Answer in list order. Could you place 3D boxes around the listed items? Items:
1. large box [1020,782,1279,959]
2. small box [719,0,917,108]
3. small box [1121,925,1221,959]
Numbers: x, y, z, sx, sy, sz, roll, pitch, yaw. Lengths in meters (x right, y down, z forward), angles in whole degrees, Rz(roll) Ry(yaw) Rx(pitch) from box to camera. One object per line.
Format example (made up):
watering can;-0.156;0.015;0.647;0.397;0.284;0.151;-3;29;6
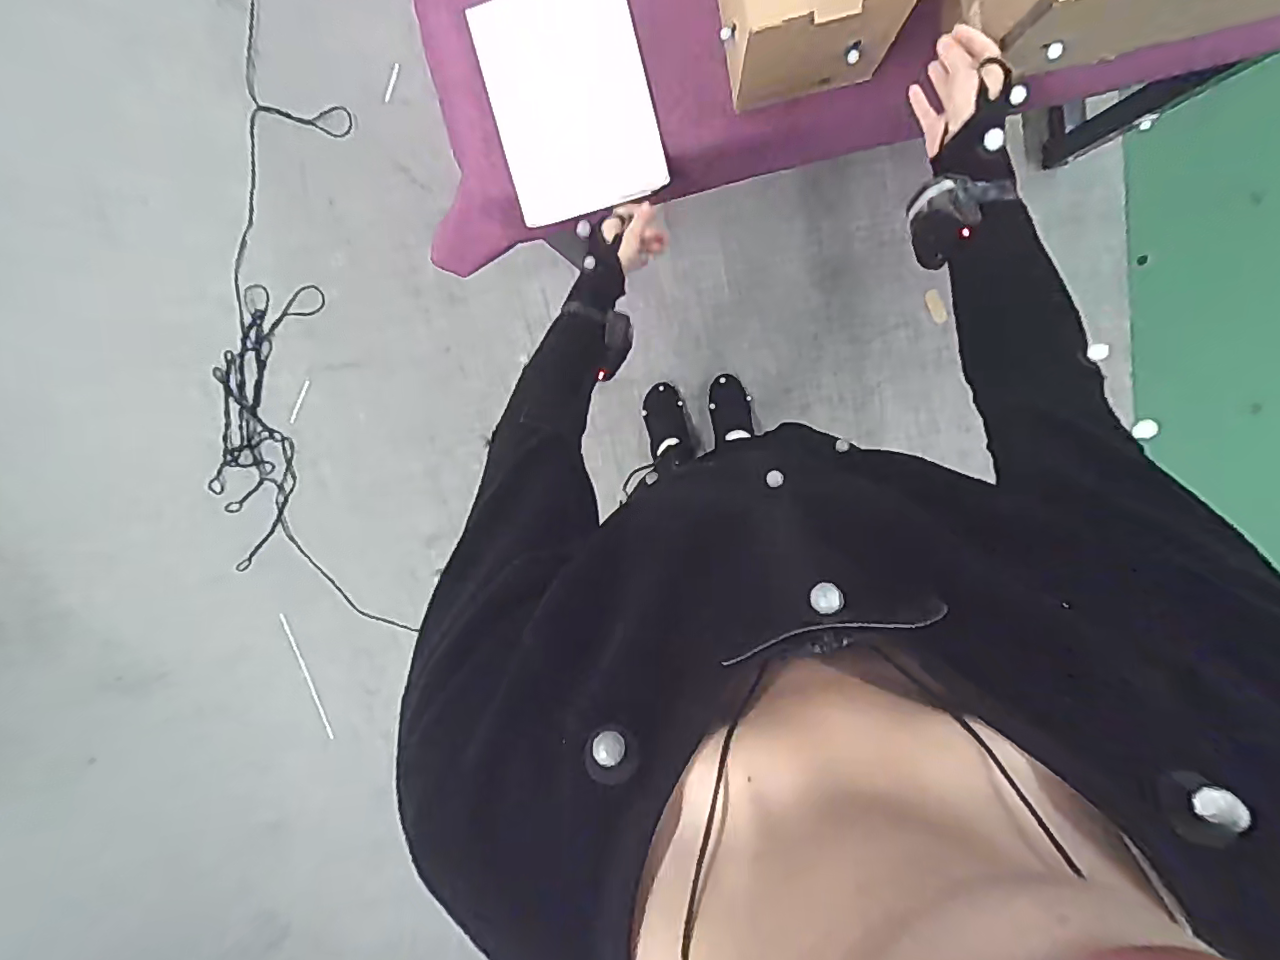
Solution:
large box;1.370;1.116;1.473;0.408;0.320;0.320;-26;99;9
small box;0.176;-0.532;0.573;0.168;0.176;0.179;-9;99;7
small box;1.263;1.184;1.245;0.179;0.176;0.168;-21;99;10
